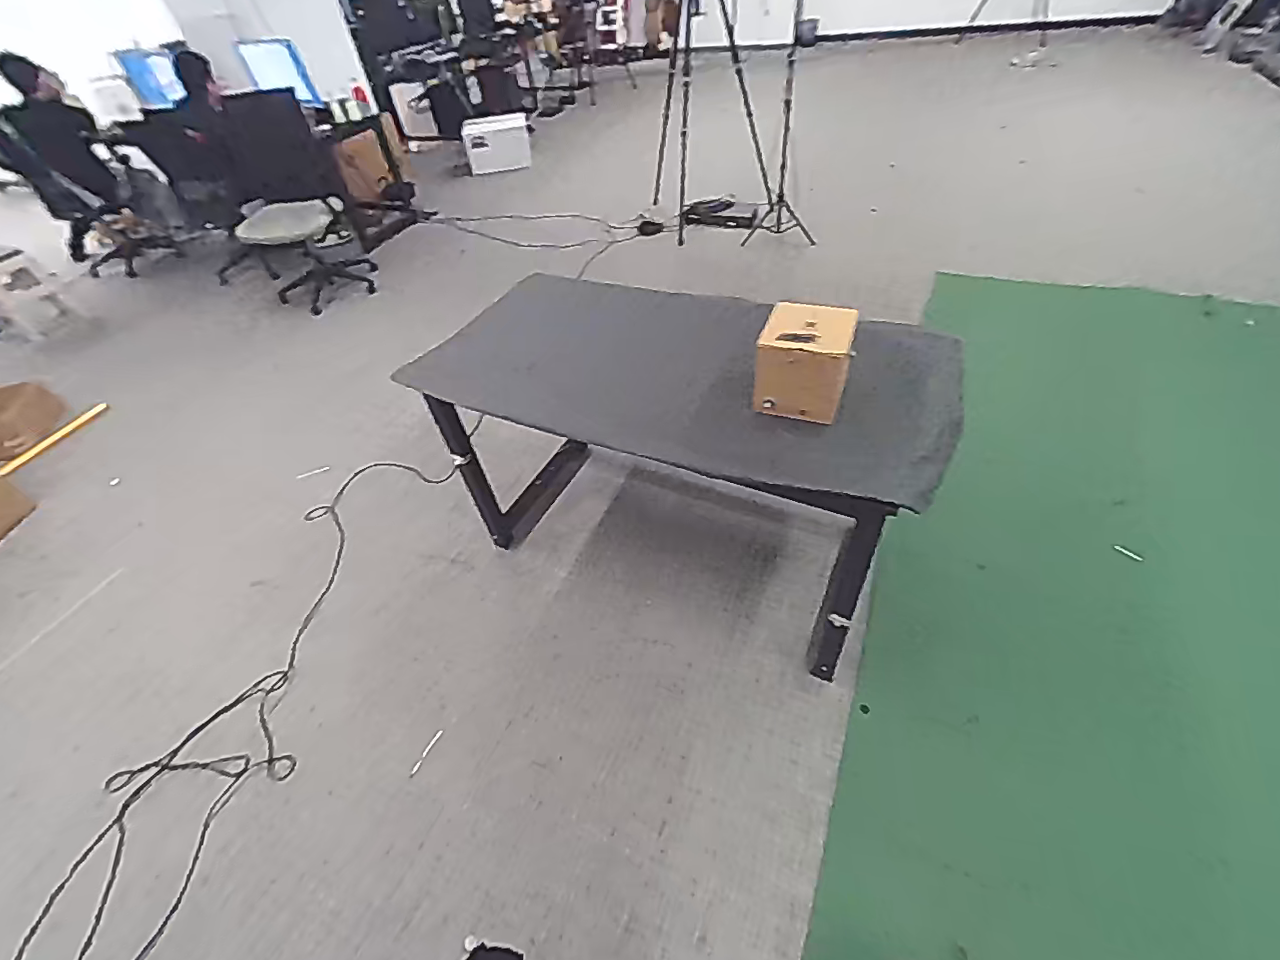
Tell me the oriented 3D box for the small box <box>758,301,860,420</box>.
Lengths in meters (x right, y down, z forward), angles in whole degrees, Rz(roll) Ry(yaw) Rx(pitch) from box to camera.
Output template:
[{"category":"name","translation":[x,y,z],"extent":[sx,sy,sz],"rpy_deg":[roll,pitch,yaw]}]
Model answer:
[{"category":"small box","translation":[0.344,-0.246,1.118],"extent":[0.168,0.176,0.179],"rpy_deg":[14,48,20]}]
